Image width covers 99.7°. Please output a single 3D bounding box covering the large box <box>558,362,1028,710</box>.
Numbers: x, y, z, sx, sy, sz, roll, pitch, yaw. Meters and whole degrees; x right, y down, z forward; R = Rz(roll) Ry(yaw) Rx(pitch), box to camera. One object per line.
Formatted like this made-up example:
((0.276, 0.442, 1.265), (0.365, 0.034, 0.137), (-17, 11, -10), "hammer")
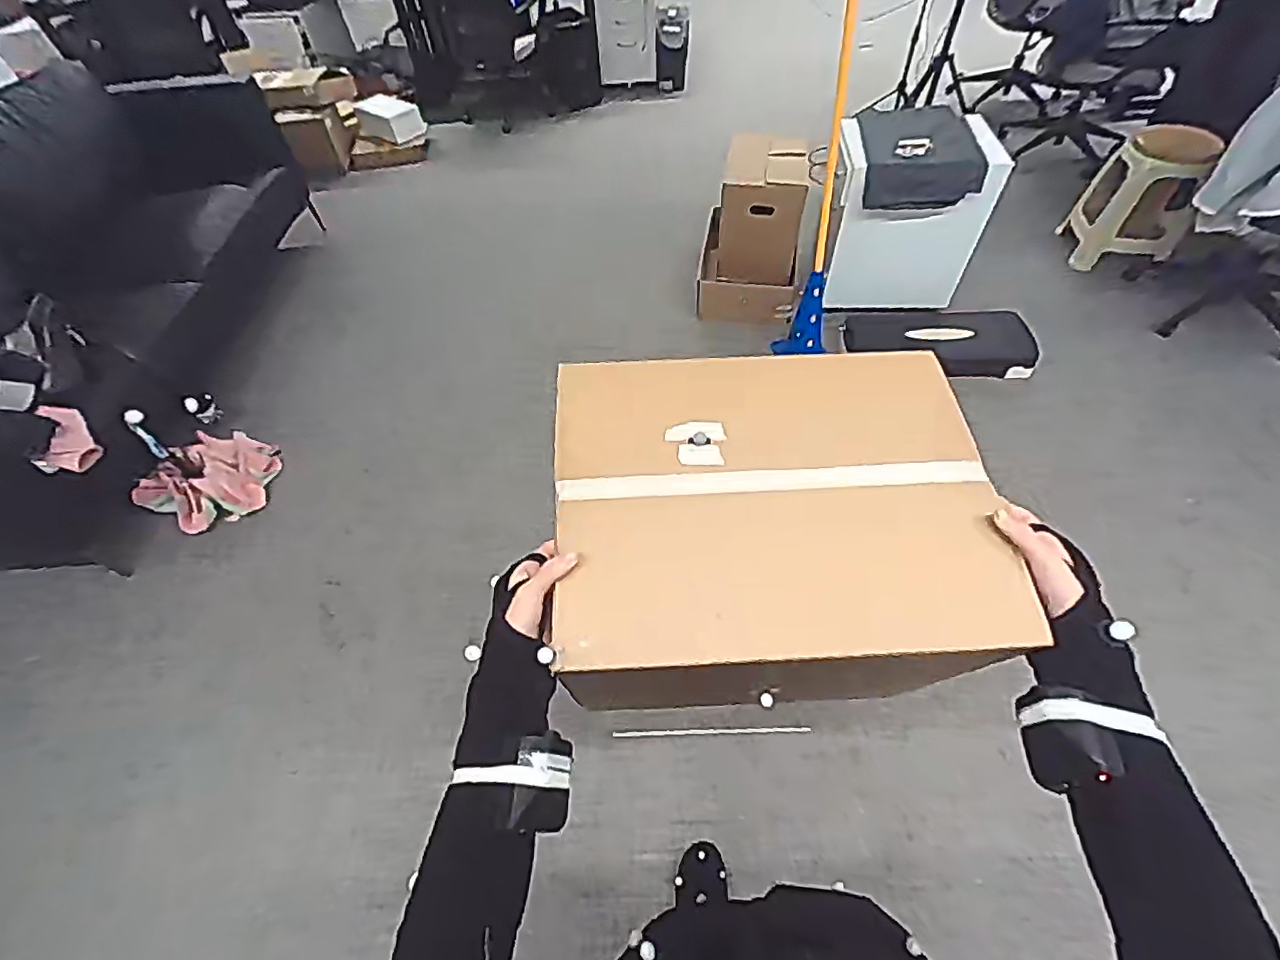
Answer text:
((0.125, 0.087, 0.649), (0.408, 0.320, 0.320), (-3, 61, -1), "large box")
